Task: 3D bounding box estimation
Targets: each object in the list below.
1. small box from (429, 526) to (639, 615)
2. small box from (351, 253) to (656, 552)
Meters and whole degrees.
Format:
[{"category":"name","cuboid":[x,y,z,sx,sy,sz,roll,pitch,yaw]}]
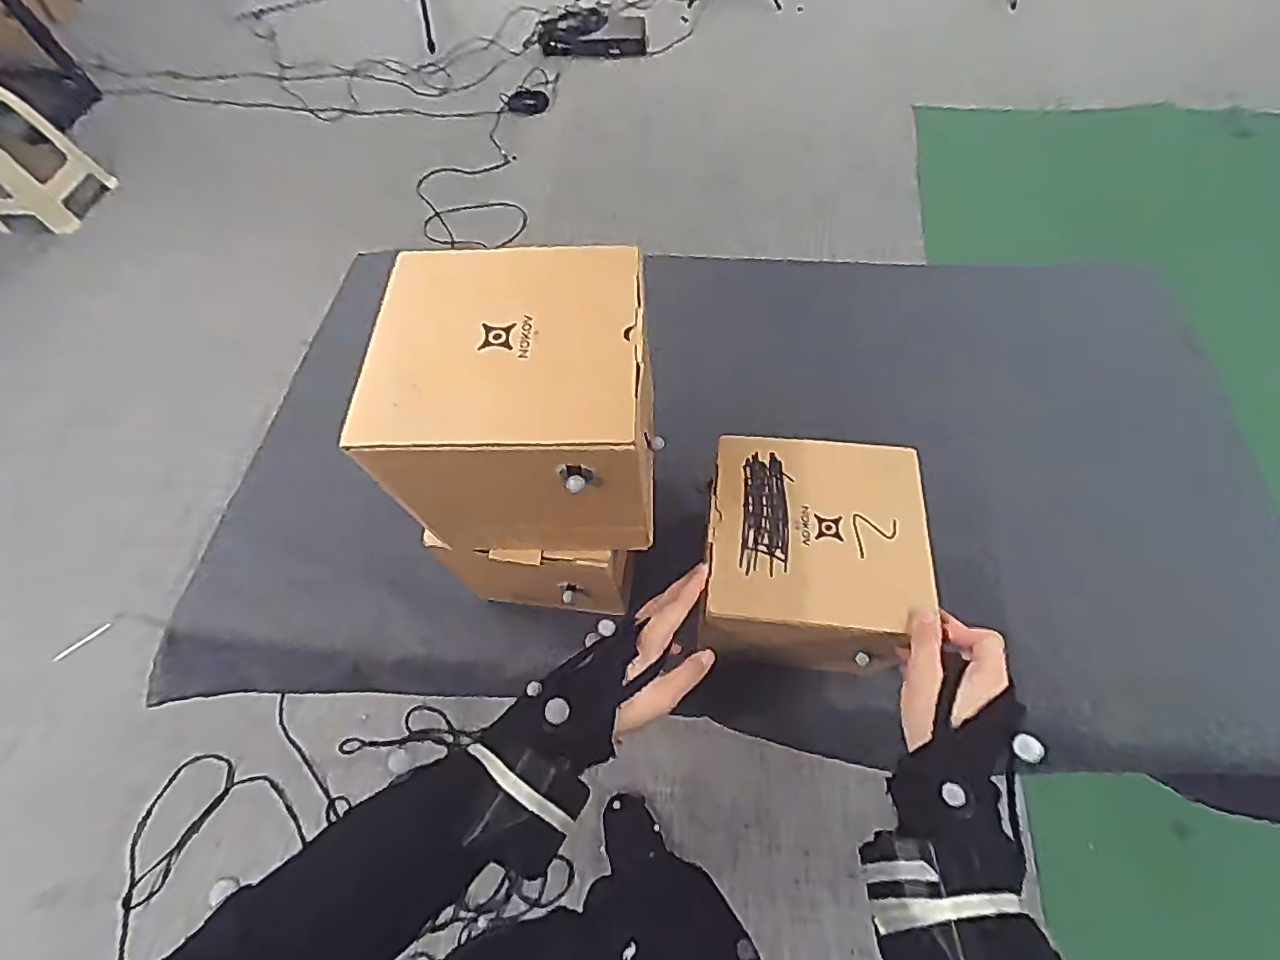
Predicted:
[{"category":"small box","cuboid":[-0.085,0.030,0.560,0.168,0.176,0.179,5,61,6]},{"category":"small box","cuboid":[-0.078,-0.049,0.418,0.179,0.176,0.168,-1,61,2]}]
